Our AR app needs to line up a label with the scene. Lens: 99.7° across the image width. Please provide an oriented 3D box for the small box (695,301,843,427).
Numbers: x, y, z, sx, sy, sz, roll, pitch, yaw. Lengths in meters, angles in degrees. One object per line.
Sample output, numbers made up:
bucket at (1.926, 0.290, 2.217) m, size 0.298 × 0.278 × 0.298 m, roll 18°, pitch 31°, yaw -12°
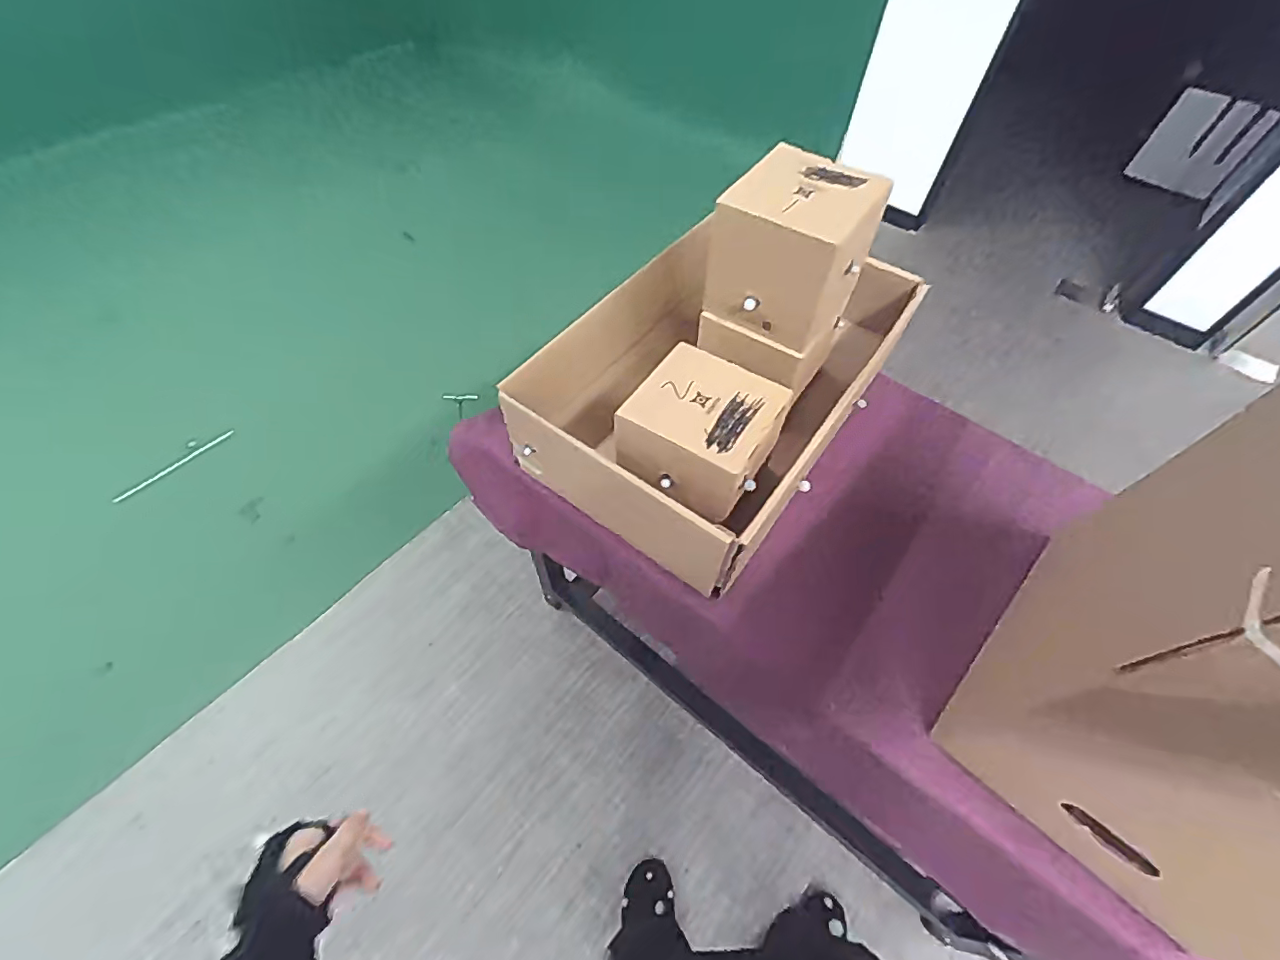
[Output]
small box at (0.201, -0.217, 0.876) m, size 0.168 × 0.176 × 0.179 m, roll 30°, pitch 61°, yaw 18°

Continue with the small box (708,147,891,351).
small box at (0.206, -0.313, 0.742) m, size 0.168 × 0.176 × 0.179 m, roll 30°, pitch 63°, yaw 19°
